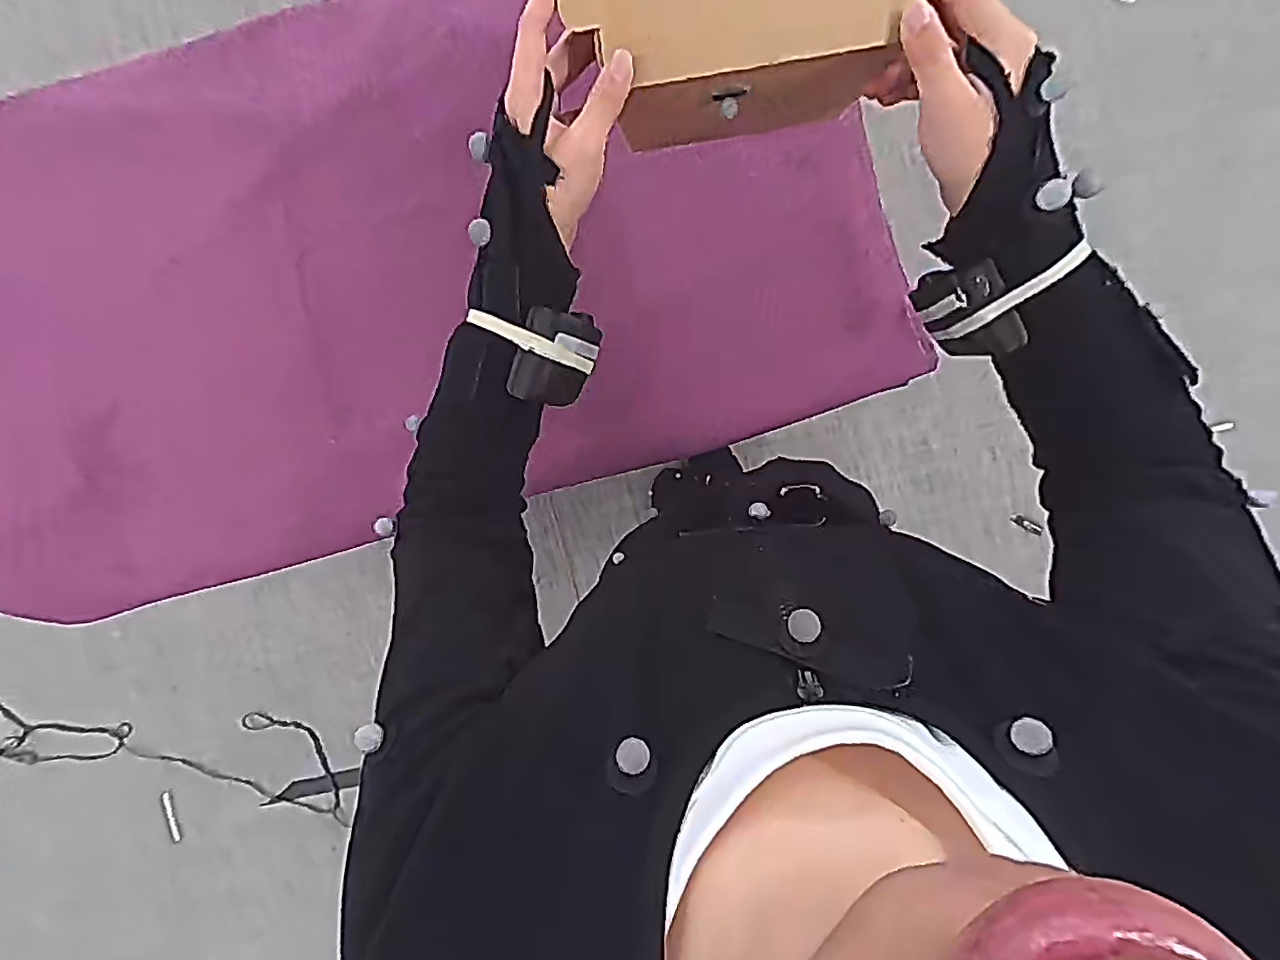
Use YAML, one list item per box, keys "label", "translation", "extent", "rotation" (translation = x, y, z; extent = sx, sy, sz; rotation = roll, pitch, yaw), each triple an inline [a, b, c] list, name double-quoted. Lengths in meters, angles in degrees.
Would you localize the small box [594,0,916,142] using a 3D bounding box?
- label: "small box"
  translation: [0.062, -0.341, 0.353]
  extent: [0.179, 0.176, 0.168]
  rotation: [-5, 110, 6]
